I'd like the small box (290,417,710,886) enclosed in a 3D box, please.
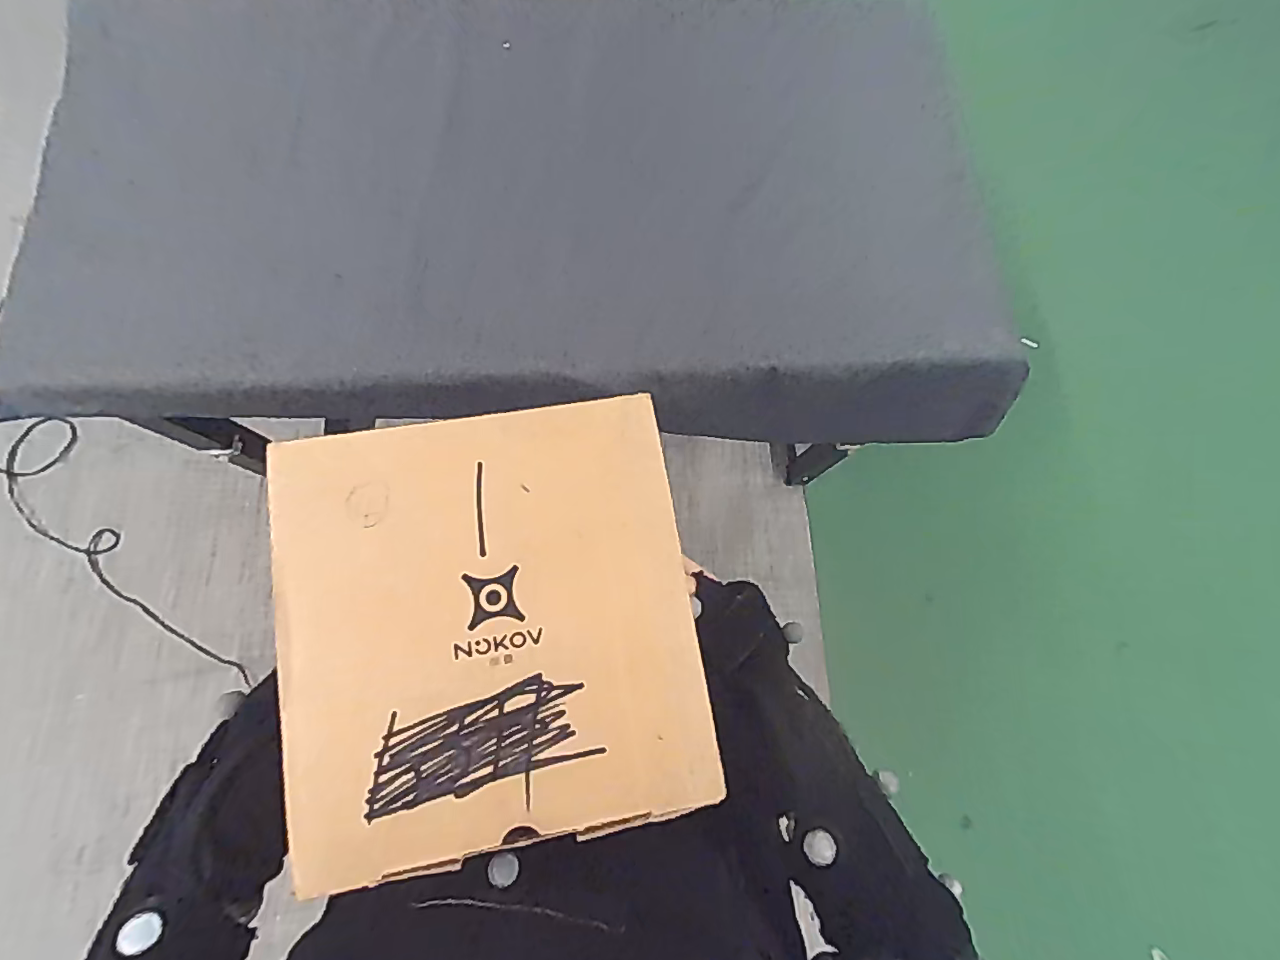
[{"bbox_3d":[-0.068,0.078,0.309,0.168,0.176,0.179,-7,80,-8],"label":"small box"}]
